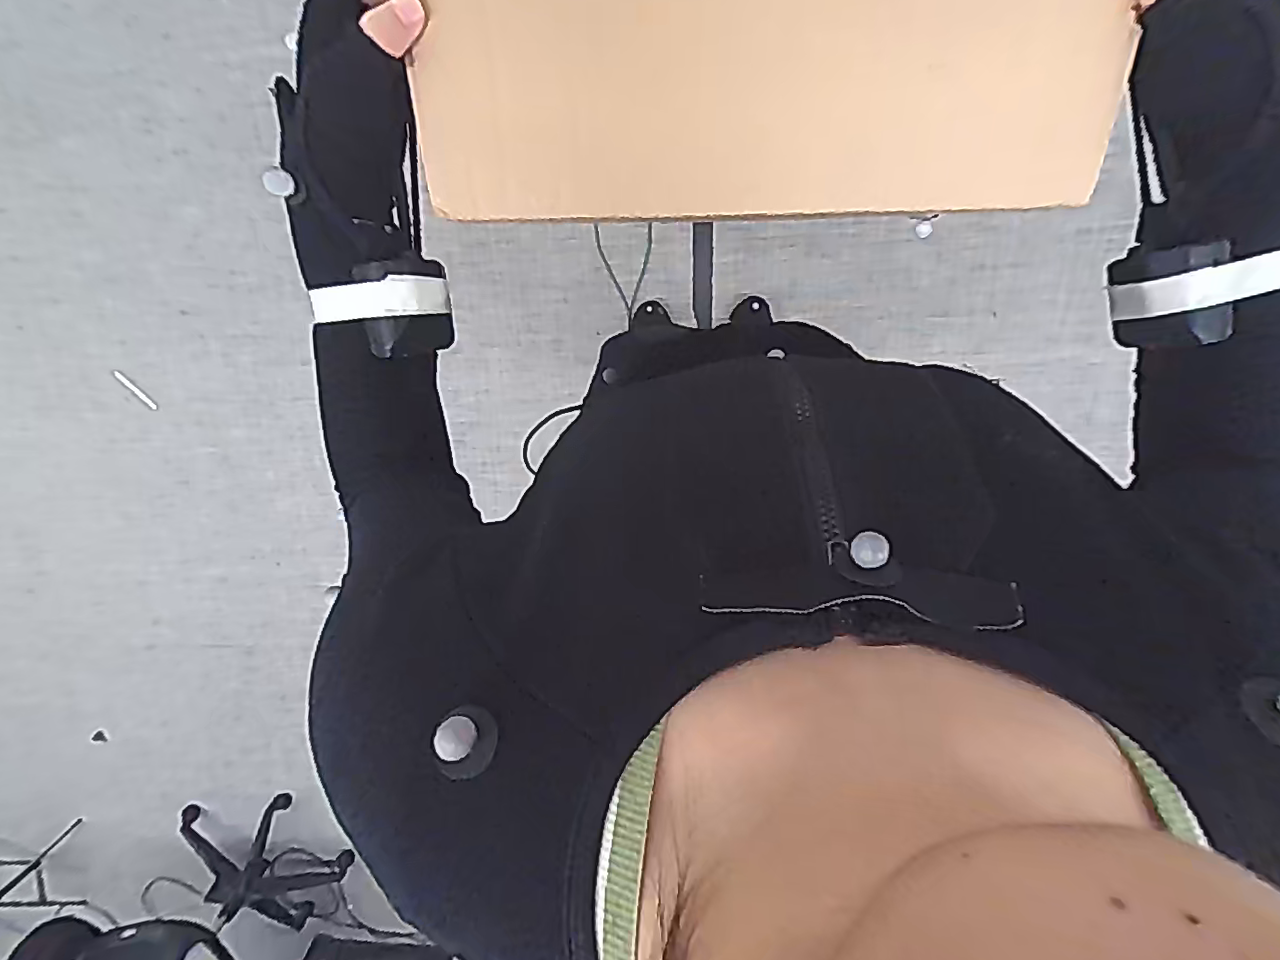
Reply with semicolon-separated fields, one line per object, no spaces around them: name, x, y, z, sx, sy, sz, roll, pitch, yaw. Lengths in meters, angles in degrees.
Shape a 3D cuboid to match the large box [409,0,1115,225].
large box;0.069;-0.375;0.414;0.408;0.320;0.320;-1;115;0
